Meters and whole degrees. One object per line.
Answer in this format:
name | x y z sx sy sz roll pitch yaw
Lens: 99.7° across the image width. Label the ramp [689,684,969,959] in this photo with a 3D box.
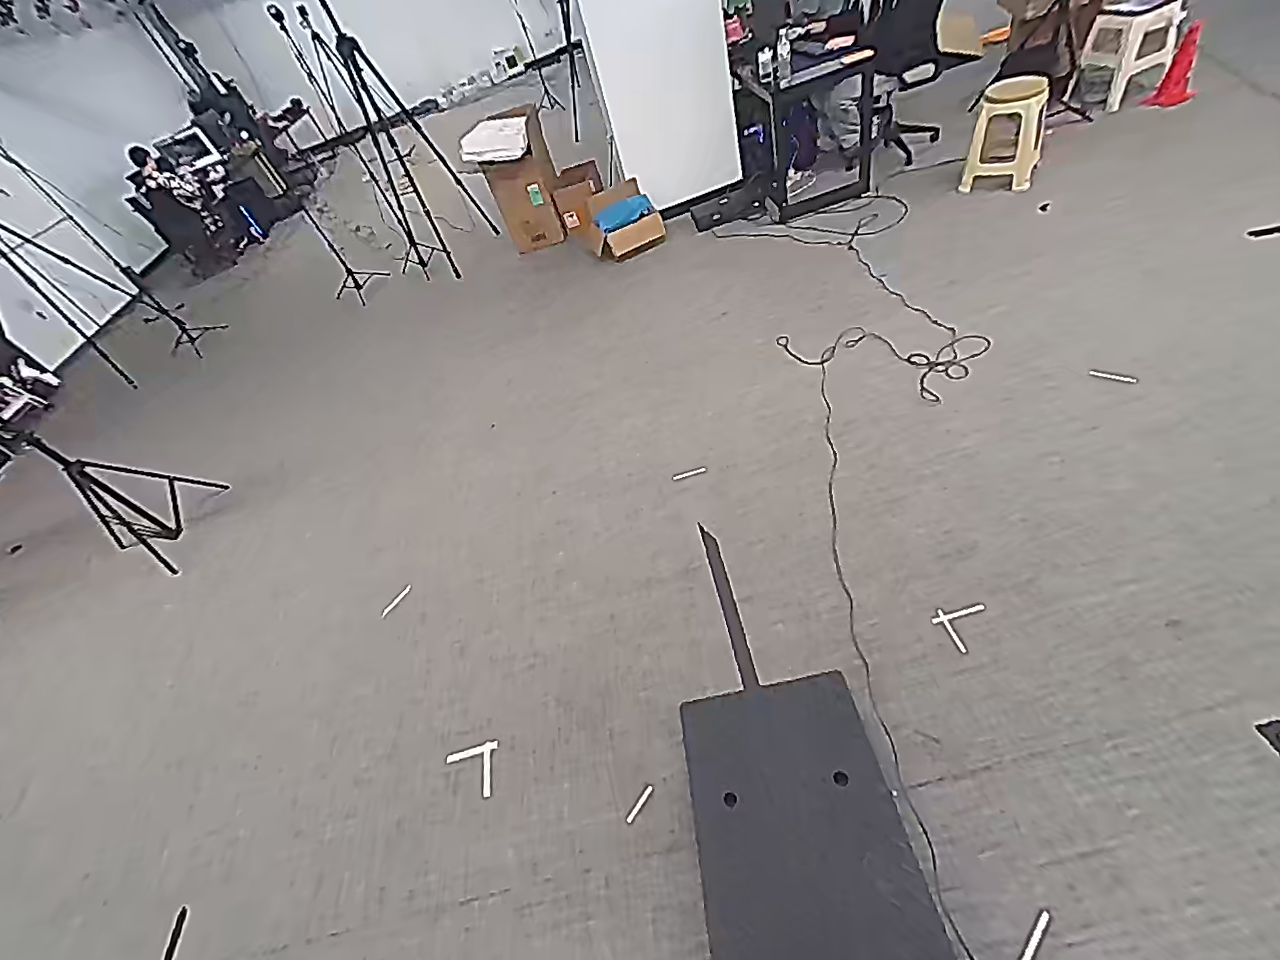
ramp | 0.408 0.945 1.197 0.509 0.206 0.991 -19 43 6
